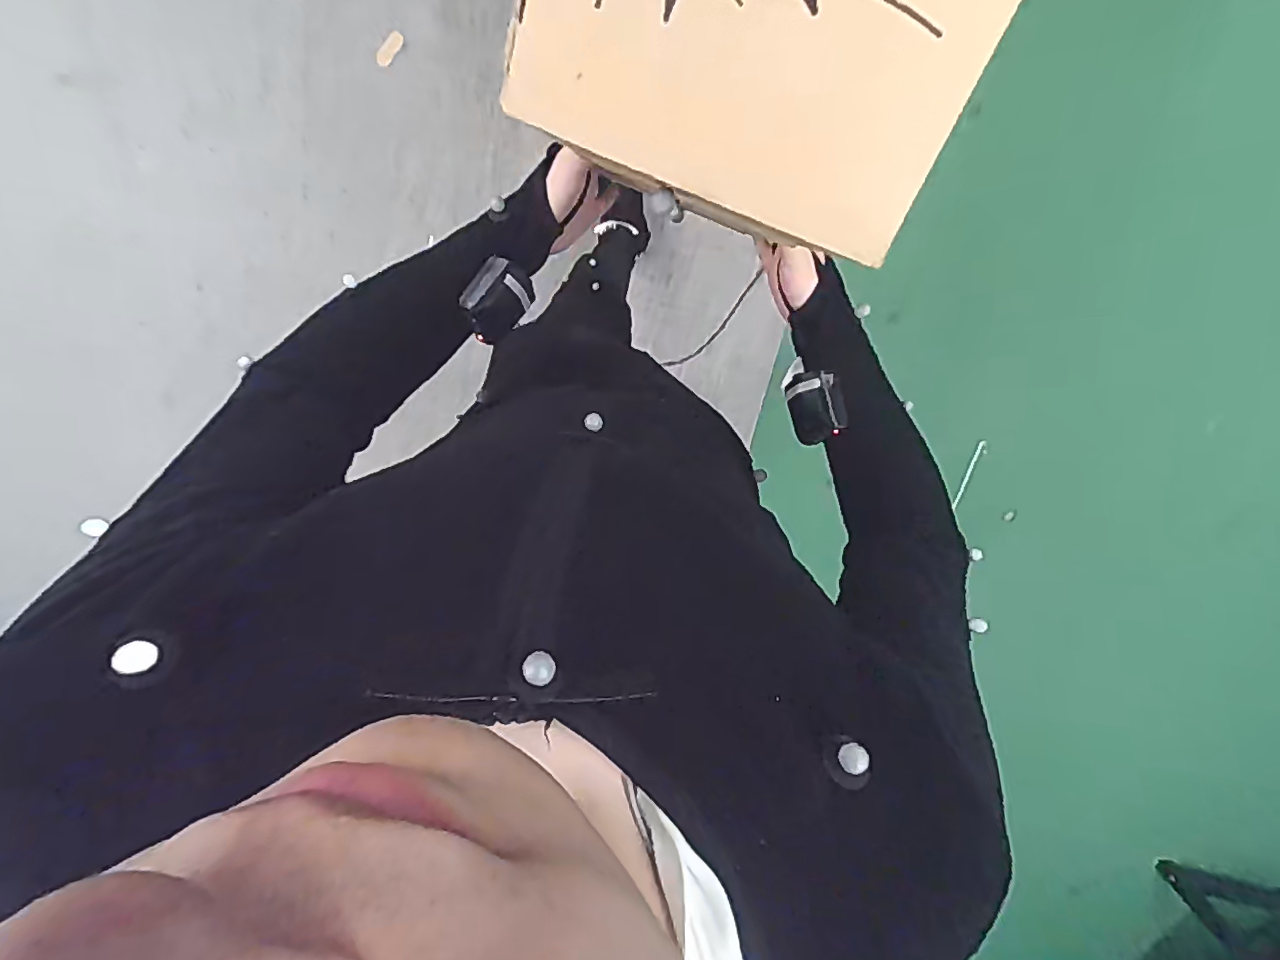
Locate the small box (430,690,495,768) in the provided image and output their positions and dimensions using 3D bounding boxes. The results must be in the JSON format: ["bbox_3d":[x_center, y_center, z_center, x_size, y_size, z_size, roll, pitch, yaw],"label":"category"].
[{"bbox_3d":[-0.633,0.876,1.917,0.179,0.176,0.168,14,111,-3],"label":"small box"}]

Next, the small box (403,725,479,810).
[{"bbox_3d":[-0.645,0.931,1.766,0.179,0.176,0.168,14,110,-4],"label":"small box"}]

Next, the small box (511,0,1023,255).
[{"bbox_3d":[0.060,-0.230,0.266,0.179,0.176,0.168,20,118,-6],"label":"small box"}]
